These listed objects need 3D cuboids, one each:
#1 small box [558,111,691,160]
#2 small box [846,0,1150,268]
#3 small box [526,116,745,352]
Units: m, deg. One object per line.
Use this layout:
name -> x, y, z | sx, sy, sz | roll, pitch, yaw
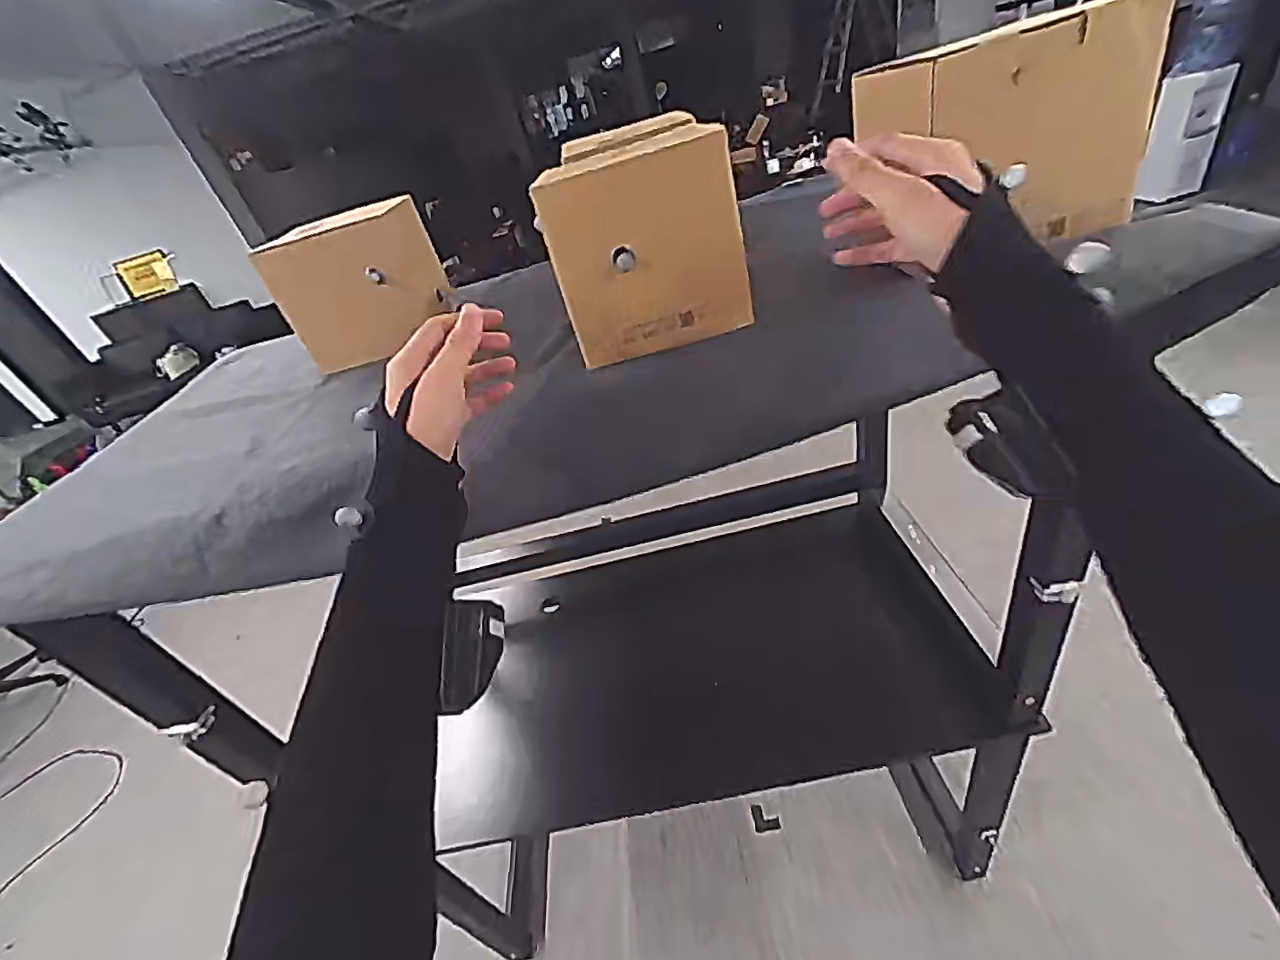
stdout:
small box -> -0.006, -0.392, 0.754 | 0.168, 0.176, 0.179 | -15, 34, 4
small box -> 0.305, -0.310, 0.498 | 0.168, 0.176, 0.179 | -13, 32, 7
small box -> 0.000, -0.244, 0.547 | 0.168, 0.176, 0.179 | -15, 33, 5
